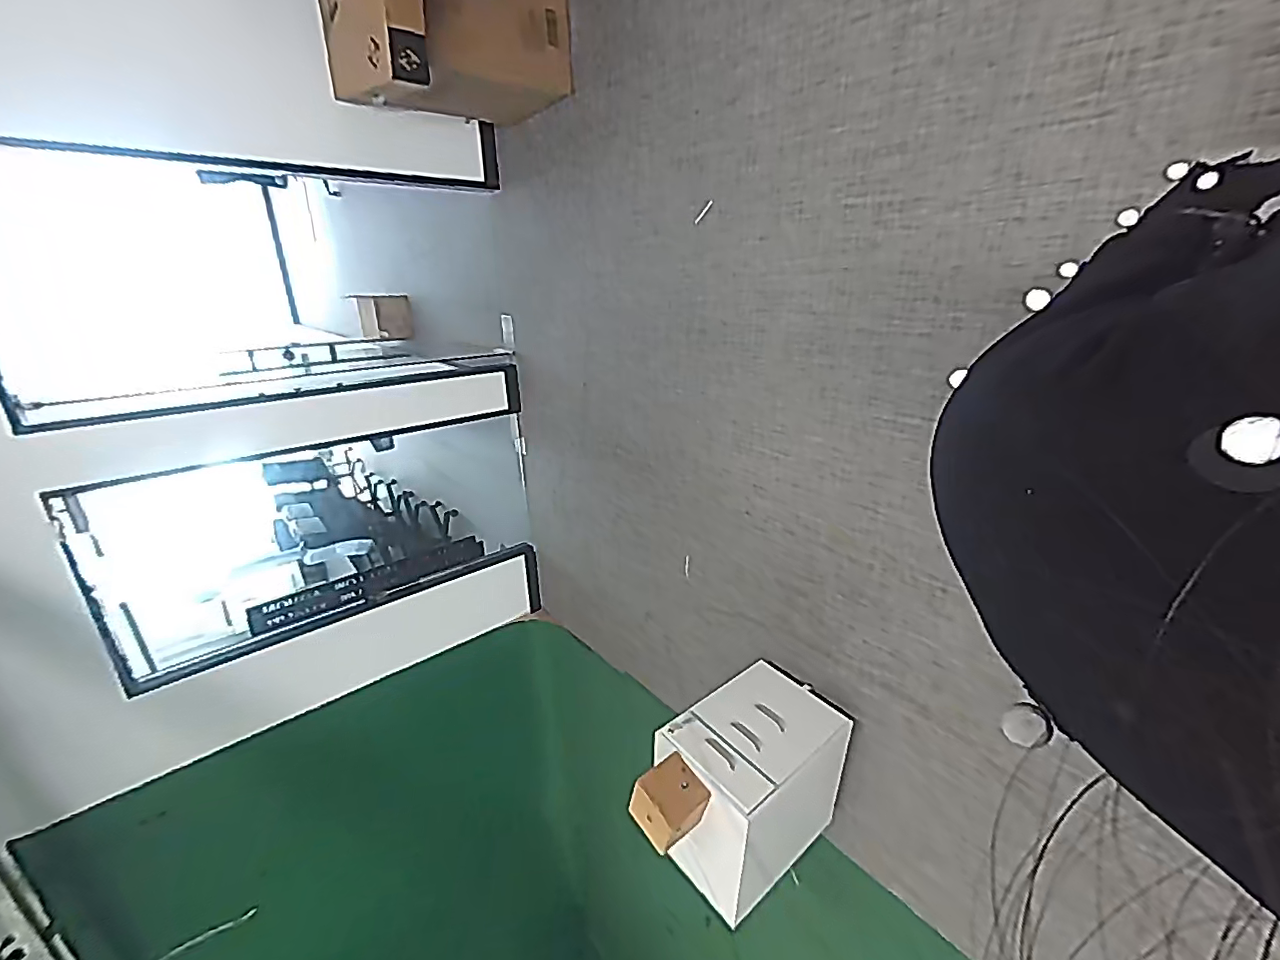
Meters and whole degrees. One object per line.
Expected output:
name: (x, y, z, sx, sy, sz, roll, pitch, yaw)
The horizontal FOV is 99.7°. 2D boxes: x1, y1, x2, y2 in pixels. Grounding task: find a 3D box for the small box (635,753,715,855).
small box: (0.107, 0.985, 1.652, 0.168, 0.176, 0.179, 38, 132, 37)
